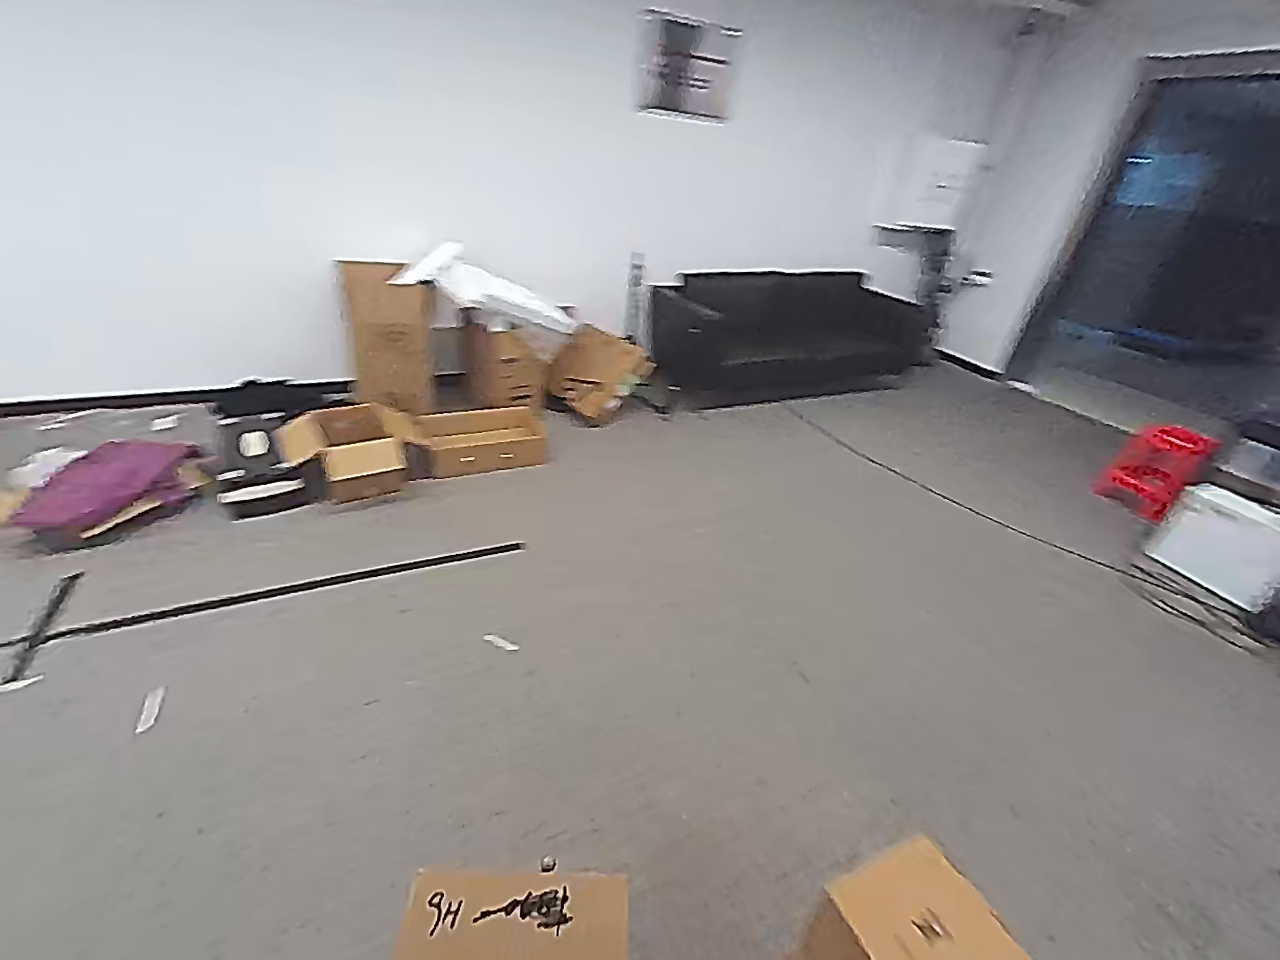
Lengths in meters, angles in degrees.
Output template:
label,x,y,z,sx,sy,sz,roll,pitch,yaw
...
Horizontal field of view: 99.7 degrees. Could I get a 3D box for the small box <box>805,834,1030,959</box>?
label,x,y,z,sx,sy,sz,roll,pitch,yaw
small box,0.334,0.596,0.674,0.179,0.176,0.168,-10,32,-22
